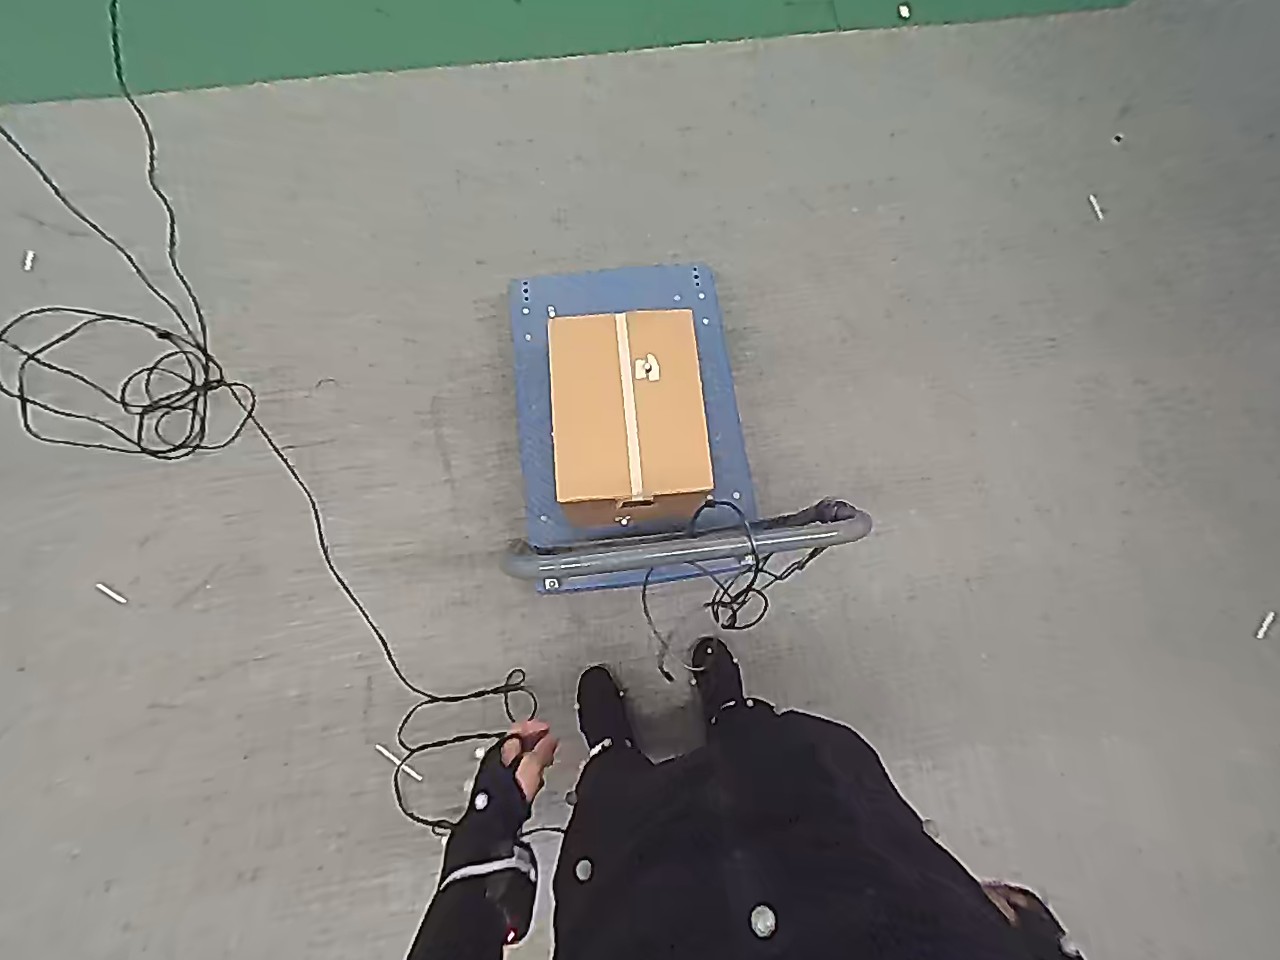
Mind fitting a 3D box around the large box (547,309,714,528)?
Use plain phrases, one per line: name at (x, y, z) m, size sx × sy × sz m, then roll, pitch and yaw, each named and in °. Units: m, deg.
large box at (-0.030, -0.124, 1.242) m, size 0.320 × 0.320 × 0.408 m, roll -4°, pitch 75°, yaw -4°
